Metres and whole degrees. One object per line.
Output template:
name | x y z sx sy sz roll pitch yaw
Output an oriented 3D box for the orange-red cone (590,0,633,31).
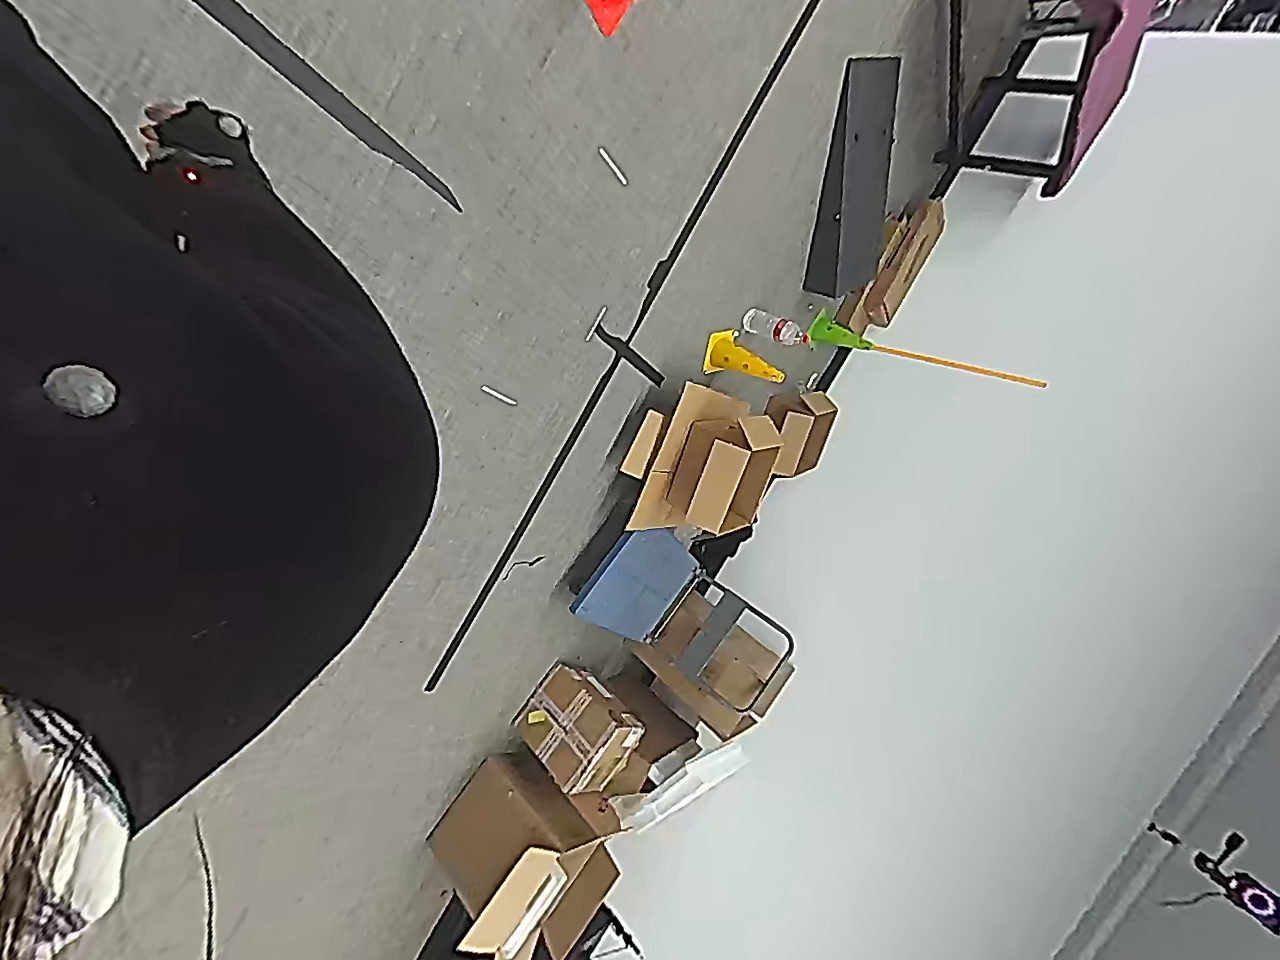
orange-red cone | 0.046 -1.224 1.281 0.198 0.360 0.199 -58 148 1
